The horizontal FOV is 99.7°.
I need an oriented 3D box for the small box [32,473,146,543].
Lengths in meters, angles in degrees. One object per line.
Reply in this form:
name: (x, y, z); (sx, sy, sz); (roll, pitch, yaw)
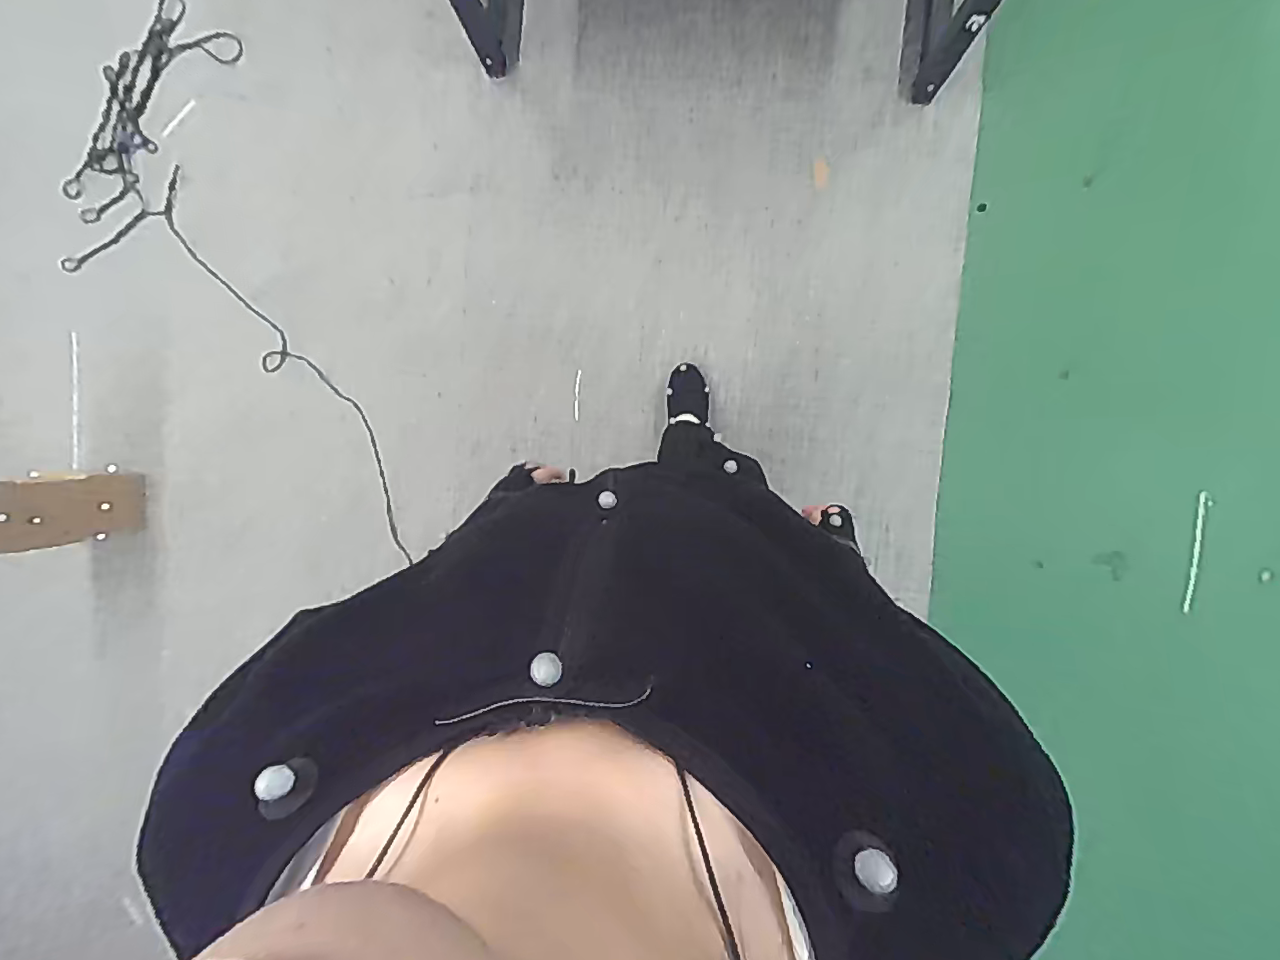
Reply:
small box: (-1.566, 0.075, 1.544); (0.168, 0.176, 0.179); (3, 92, 4)

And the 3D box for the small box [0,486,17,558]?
small box: (-1.576, 0.097, 1.218); (0.168, 0.176, 0.179); (1, 92, 4)

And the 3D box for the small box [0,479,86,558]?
small box: (-1.579, 0.093, 1.382); (0.168, 0.176, 0.179); (4, 93, 3)
